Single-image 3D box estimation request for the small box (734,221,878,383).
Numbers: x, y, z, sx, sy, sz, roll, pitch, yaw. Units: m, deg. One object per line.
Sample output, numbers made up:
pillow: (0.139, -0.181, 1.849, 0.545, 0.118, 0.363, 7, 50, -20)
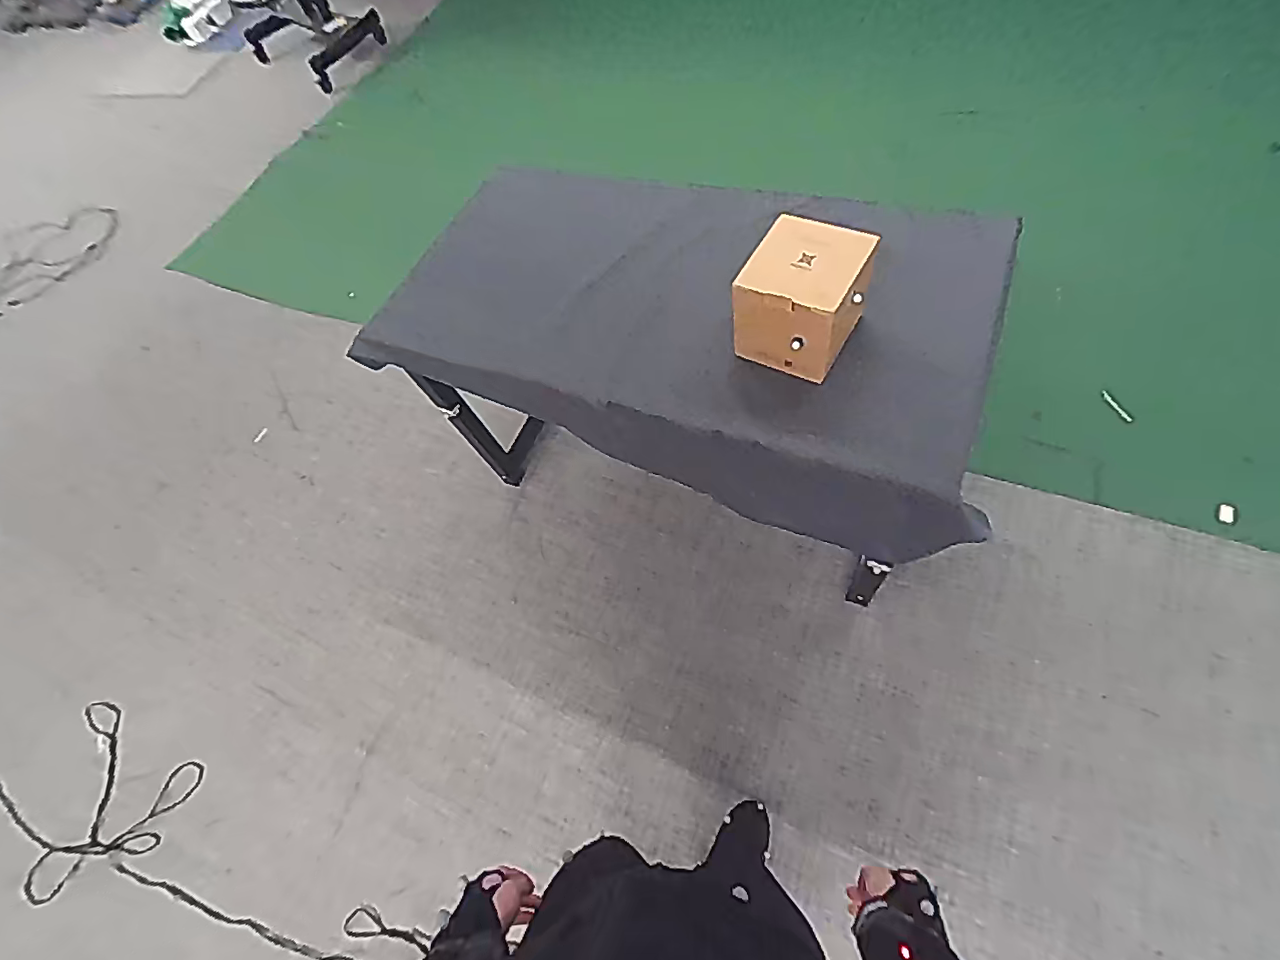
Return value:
small box: (0.274, -0.294, 0.912, 0.168, 0.176, 0.179, 27, 69, 22)
